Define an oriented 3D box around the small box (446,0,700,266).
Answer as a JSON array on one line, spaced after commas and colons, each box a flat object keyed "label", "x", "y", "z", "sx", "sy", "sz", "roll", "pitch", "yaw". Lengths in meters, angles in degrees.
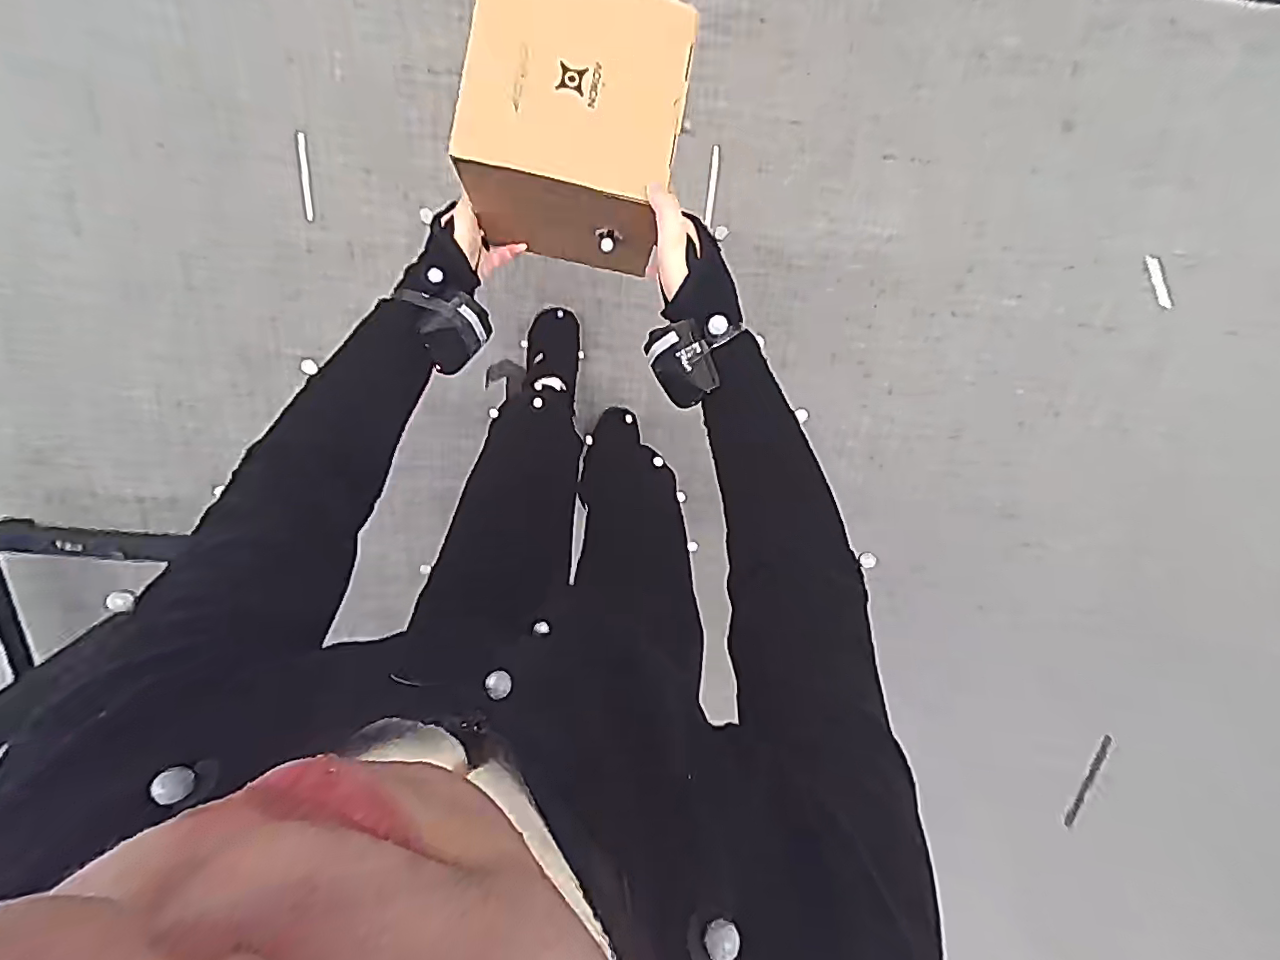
[{"label": "small box", "x": -0.059, "y": -0.322, "z": 0.507, "sx": 0.179, "sy": 0.176, "sz": 0.168, "roll": 11, "pitch": 89, "yaw": -5}]
